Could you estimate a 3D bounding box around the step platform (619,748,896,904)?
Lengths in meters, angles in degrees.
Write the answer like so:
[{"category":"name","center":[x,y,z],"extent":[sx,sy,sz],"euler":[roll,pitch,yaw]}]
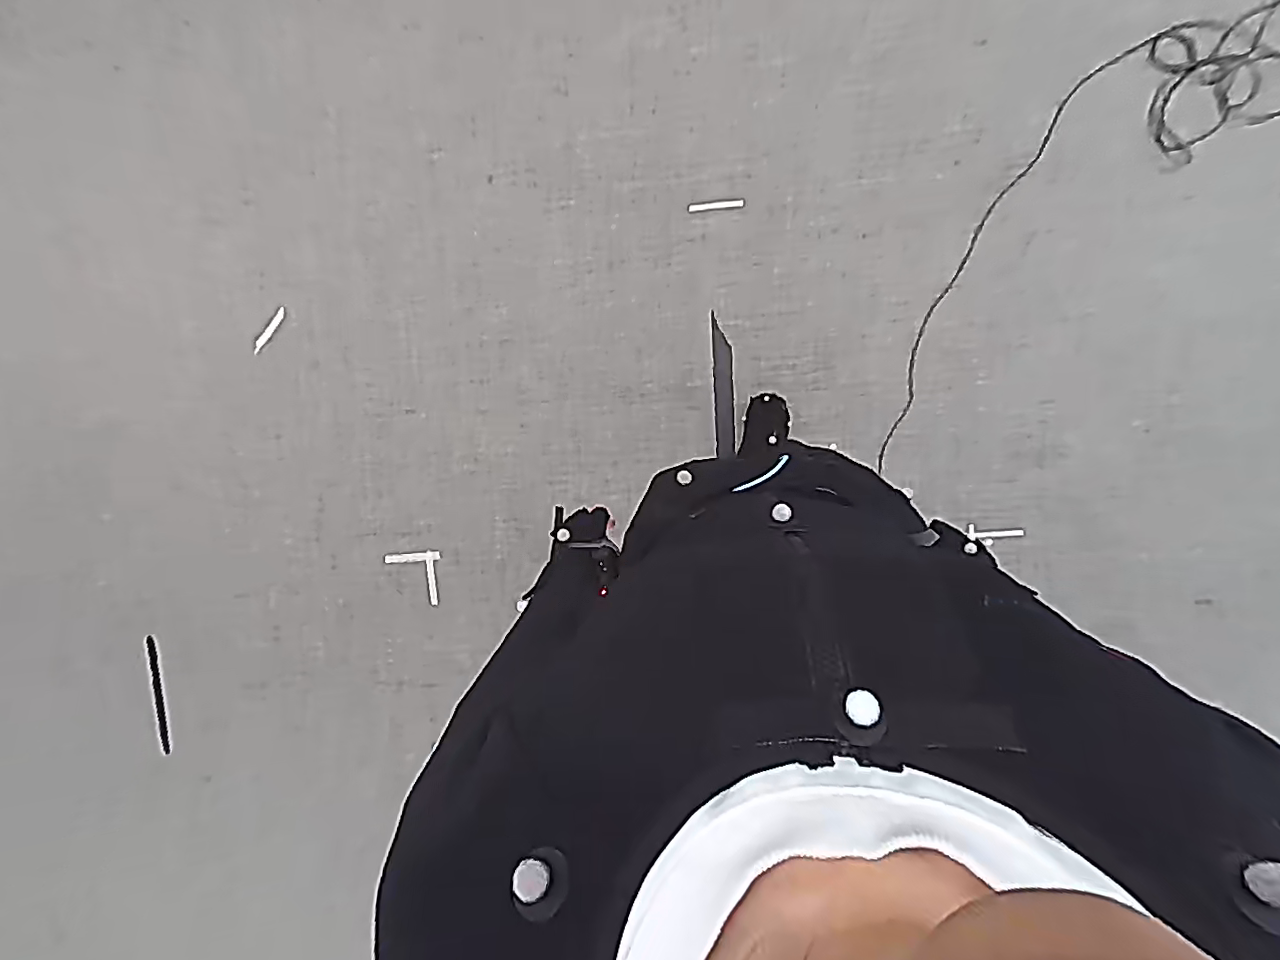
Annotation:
[{"category":"step platform","center":[0.286,0.882,1.398],"extent":[0.684,0.204,0.286],"euler":[-4,93,10]}]
